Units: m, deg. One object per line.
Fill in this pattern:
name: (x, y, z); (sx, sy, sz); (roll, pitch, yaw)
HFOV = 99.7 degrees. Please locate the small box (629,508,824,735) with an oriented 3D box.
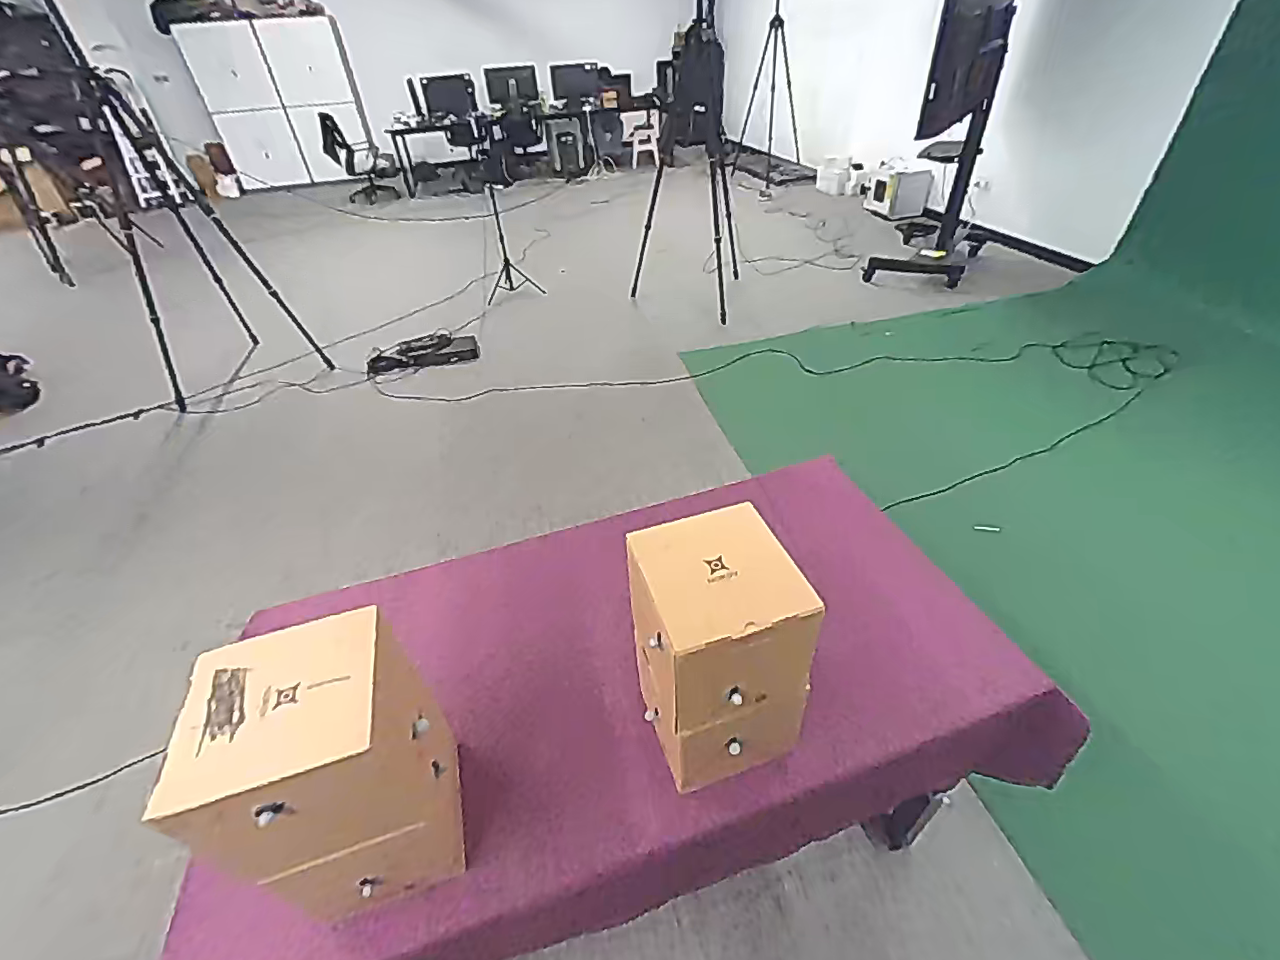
small box: (0.090, 0.165, 0.647); (0.168, 0.176, 0.179); (-14, 40, -11)

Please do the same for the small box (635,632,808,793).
small box: (0.107, 0.295, 0.746); (0.179, 0.176, 0.168); (-16, 41, -12)

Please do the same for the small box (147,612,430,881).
small box: (-0.332, 0.273, 0.558); (0.179, 0.176, 0.168); (-14, 40, -12)

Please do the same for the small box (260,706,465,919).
small box: (-0.320, 0.399, 0.663); (0.168, 0.176, 0.179); (-14, 40, -12)
